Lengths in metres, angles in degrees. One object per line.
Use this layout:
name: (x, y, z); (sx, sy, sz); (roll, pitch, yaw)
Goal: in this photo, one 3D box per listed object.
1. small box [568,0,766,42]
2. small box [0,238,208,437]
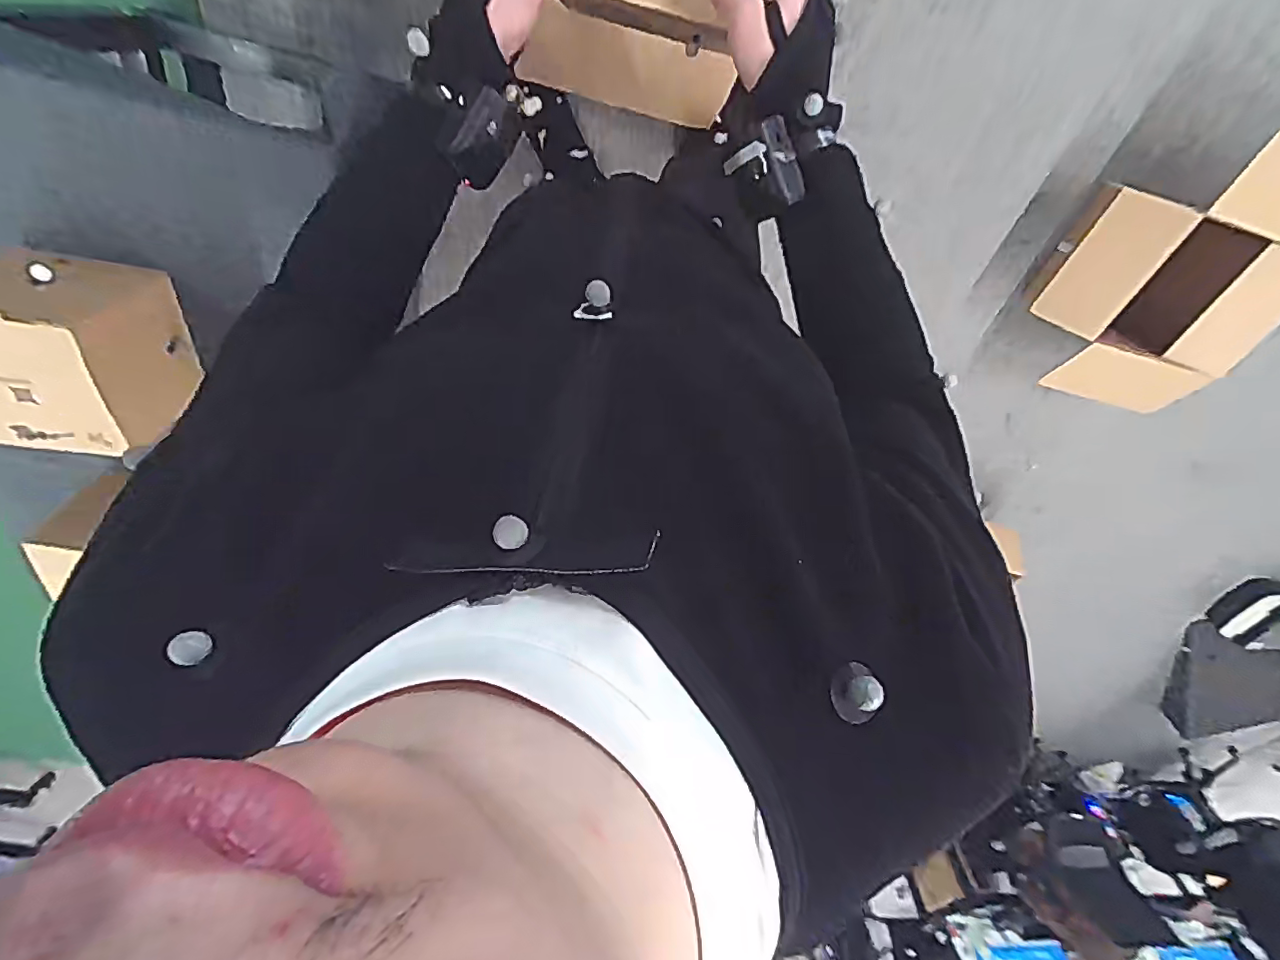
small box: (0.024, -0.469, 0.423); (0.179, 0.176, 0.168); (11, 123, -4)
small box: (-0.687, -0.177, 0.664); (0.168, 0.176, 0.179); (5, 131, -9)
